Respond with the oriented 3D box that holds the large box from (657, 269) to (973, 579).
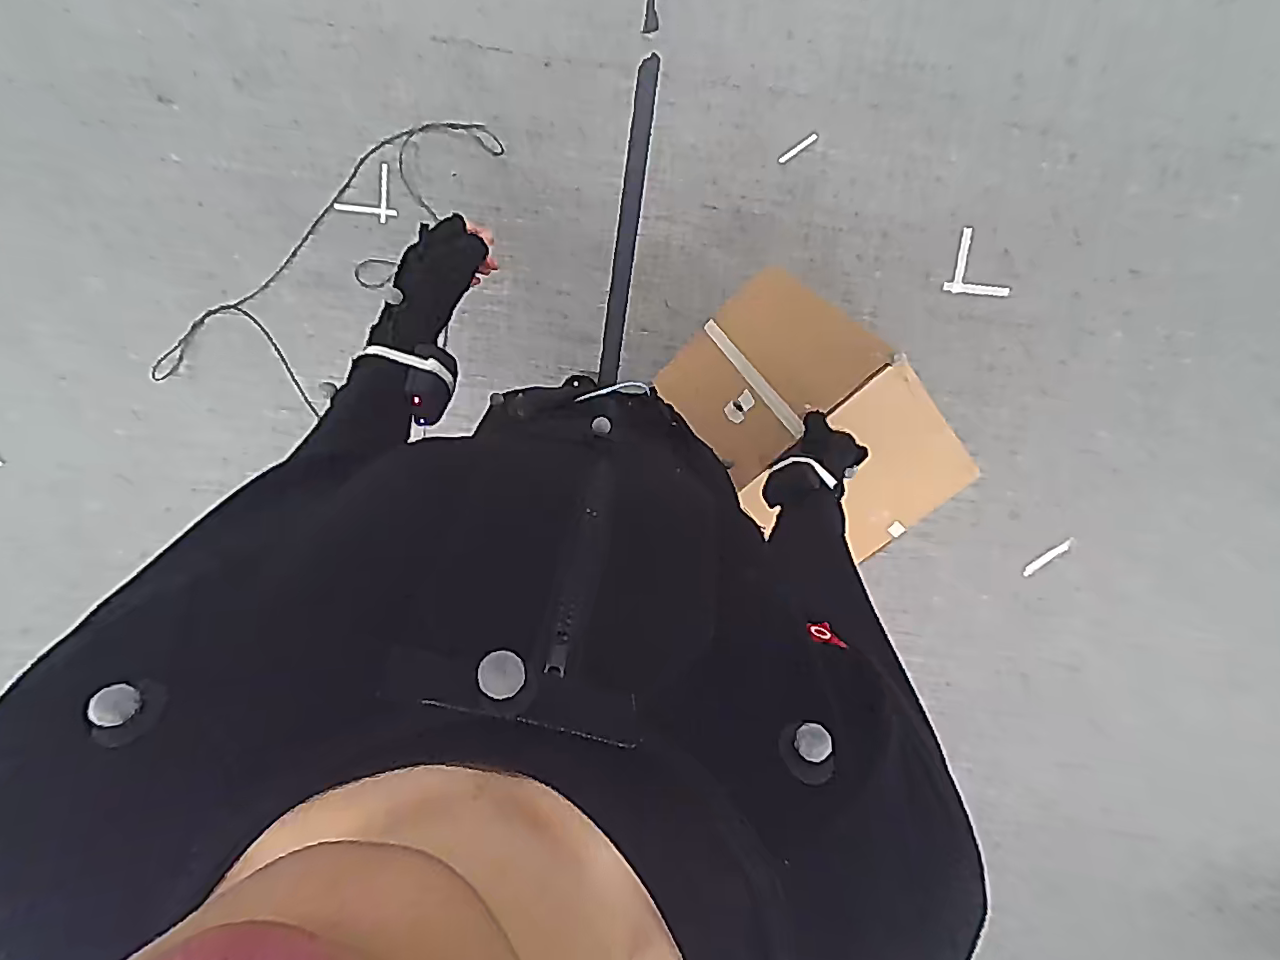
[{"bbox_3d":[0.284,-0.104,0.969,0.320,0.408,0.320,33,112,-34],"label":"large box"}]
